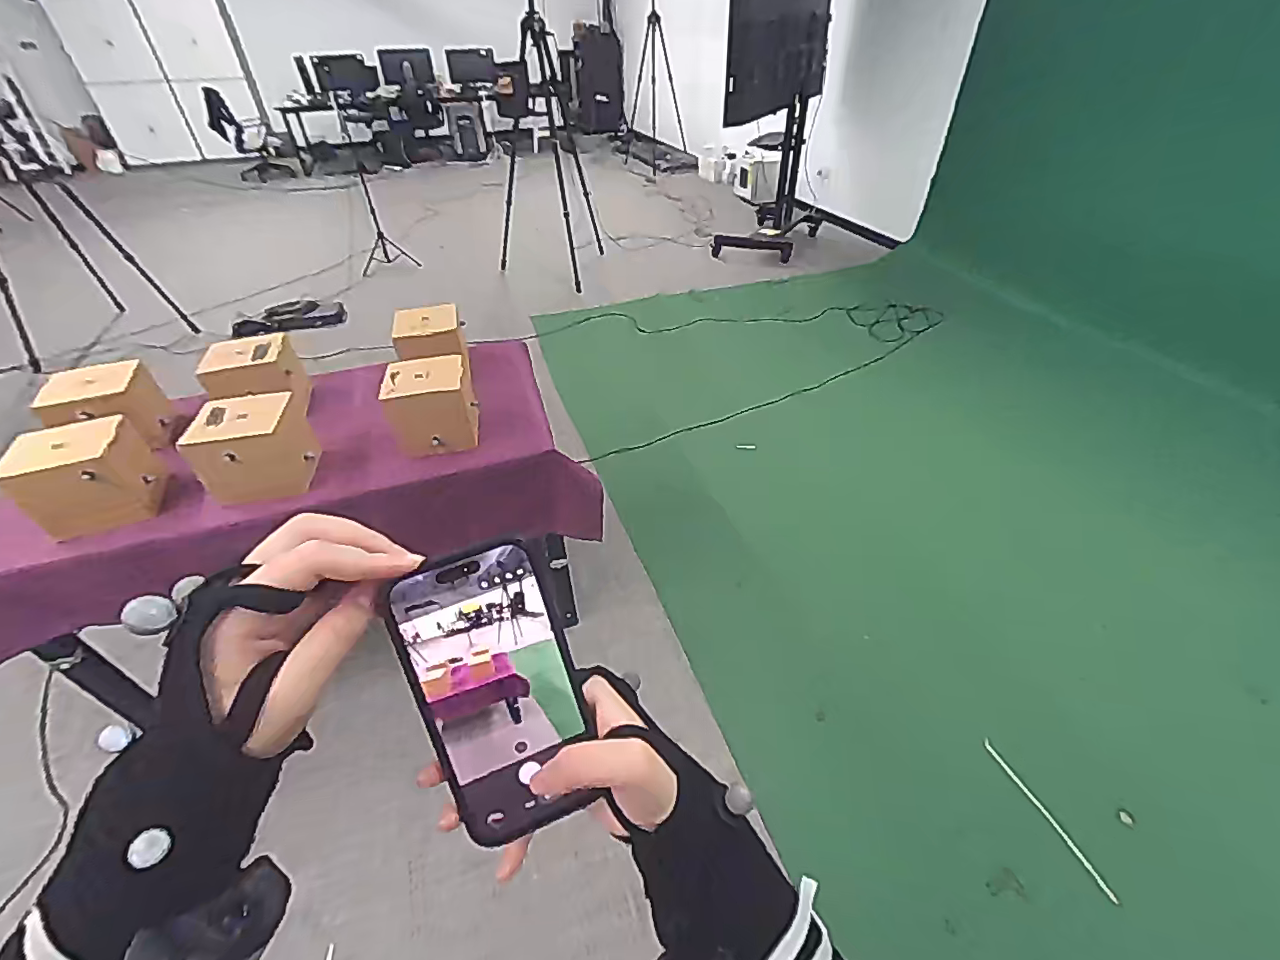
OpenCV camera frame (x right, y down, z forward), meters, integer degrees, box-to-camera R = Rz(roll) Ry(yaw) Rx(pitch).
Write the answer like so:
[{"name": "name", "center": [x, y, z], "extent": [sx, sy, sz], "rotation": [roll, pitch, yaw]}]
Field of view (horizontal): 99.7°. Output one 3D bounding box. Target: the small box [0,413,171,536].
[{"name": "small box", "center": [-1.125, -0.010, 1.111], "extent": [0.179, 0.176, 0.168], "rotation": [-17, 43, -19]}]

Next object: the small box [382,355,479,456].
[{"name": "small box", "center": [-0.486, -0.177, 1.285], "extent": [0.179, 0.176, 0.168], "rotation": [-8, 41, -9]}]

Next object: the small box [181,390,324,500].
[{"name": "small box", "center": [-0.825, -0.073, 1.174], "extent": [0.179, 0.176, 0.168], "rotation": [-9, 41, -10]}]

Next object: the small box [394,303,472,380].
[{"name": "small box", "center": [-0.573, -0.374, 1.514], "extent": [0.168, 0.176, 0.179], "rotation": [-11, 43, -11]}]
